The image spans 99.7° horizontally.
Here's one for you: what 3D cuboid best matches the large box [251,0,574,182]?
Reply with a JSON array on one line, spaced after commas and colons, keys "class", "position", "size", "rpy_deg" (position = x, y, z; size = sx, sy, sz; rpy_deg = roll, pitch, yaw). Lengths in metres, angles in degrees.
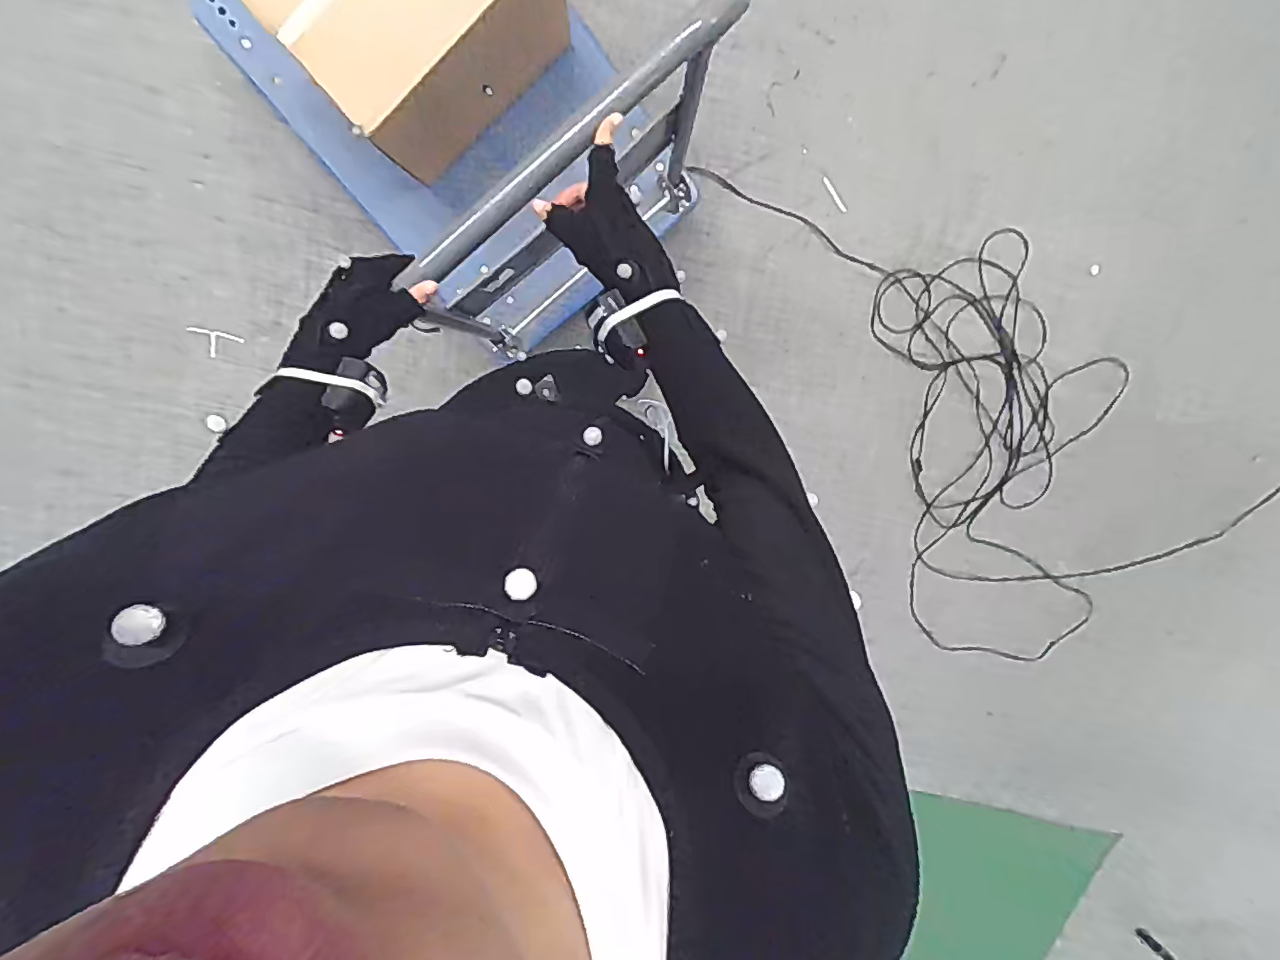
[{"class": "large box", "position": [-0.361, -0.805, 0.913], "size": [0.408, 0.320, 0.320], "rpy_deg": [-42, 103, 9]}]
